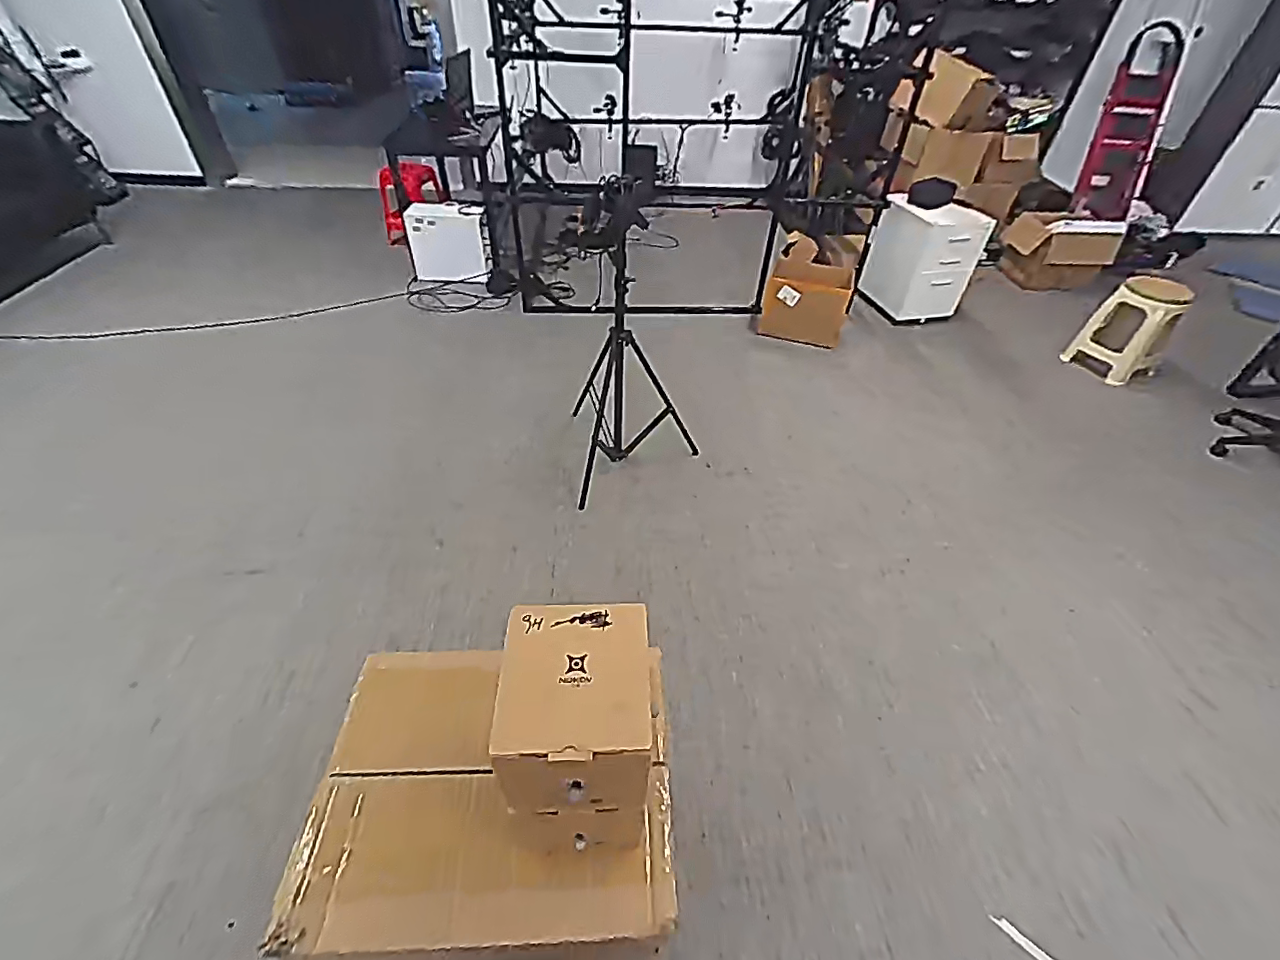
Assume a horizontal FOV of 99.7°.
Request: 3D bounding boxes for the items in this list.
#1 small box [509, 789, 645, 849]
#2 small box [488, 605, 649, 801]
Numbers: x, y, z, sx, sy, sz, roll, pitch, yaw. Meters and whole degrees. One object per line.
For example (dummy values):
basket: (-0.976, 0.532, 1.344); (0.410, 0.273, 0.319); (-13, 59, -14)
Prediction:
small box: (-0.082, 0.394, 0.762); (0.168, 0.176, 0.179); (-1, 44, -3)
small box: (-0.073, 0.272, 0.653); (0.168, 0.176, 0.179); (0, 44, -2)
